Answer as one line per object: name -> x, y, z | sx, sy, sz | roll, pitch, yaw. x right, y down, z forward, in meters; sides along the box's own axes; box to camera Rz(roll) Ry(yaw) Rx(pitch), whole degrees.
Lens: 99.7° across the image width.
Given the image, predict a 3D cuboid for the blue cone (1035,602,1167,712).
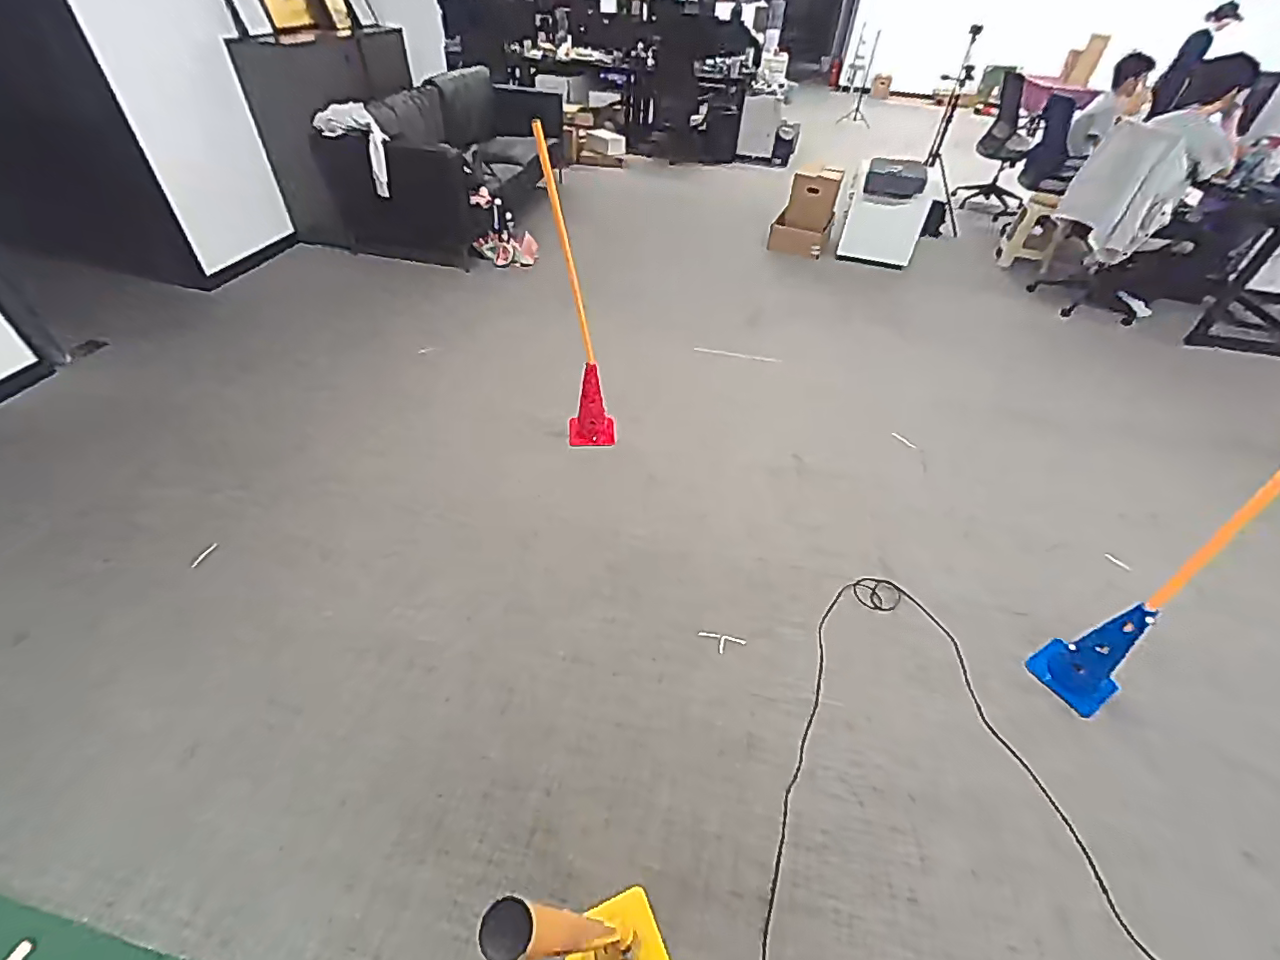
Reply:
blue cone -> 1.338, 0.466, 1.539 | 0.193, 0.380, 0.192 | -20, 47, -26
